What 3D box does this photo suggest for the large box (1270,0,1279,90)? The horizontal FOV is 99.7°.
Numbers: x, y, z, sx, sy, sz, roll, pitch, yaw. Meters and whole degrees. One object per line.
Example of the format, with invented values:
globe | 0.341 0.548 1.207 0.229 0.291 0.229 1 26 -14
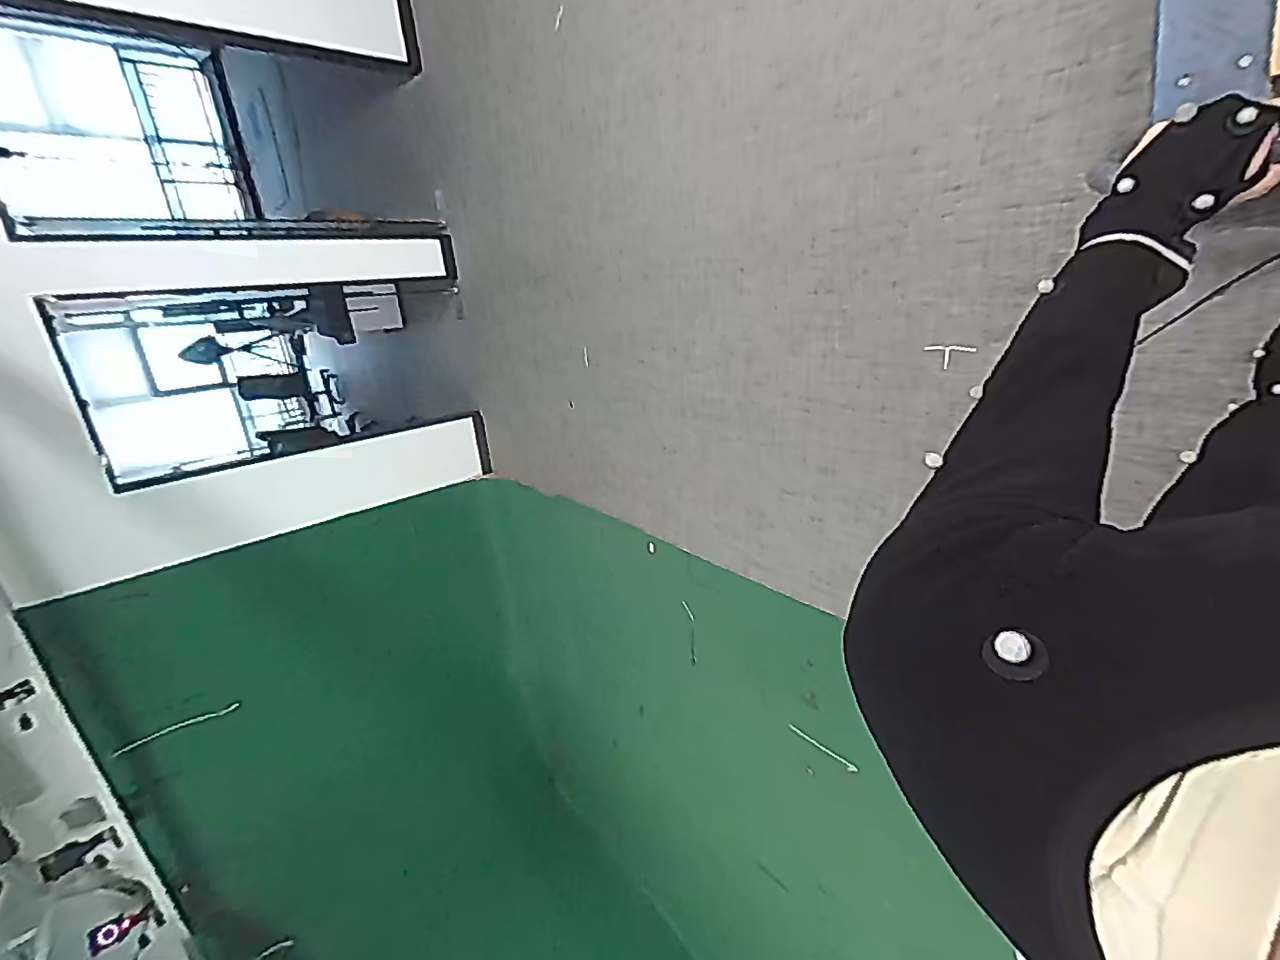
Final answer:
large box | 0.979 -0.717 0.615 0.320 0.320 0.408 7 110 49
